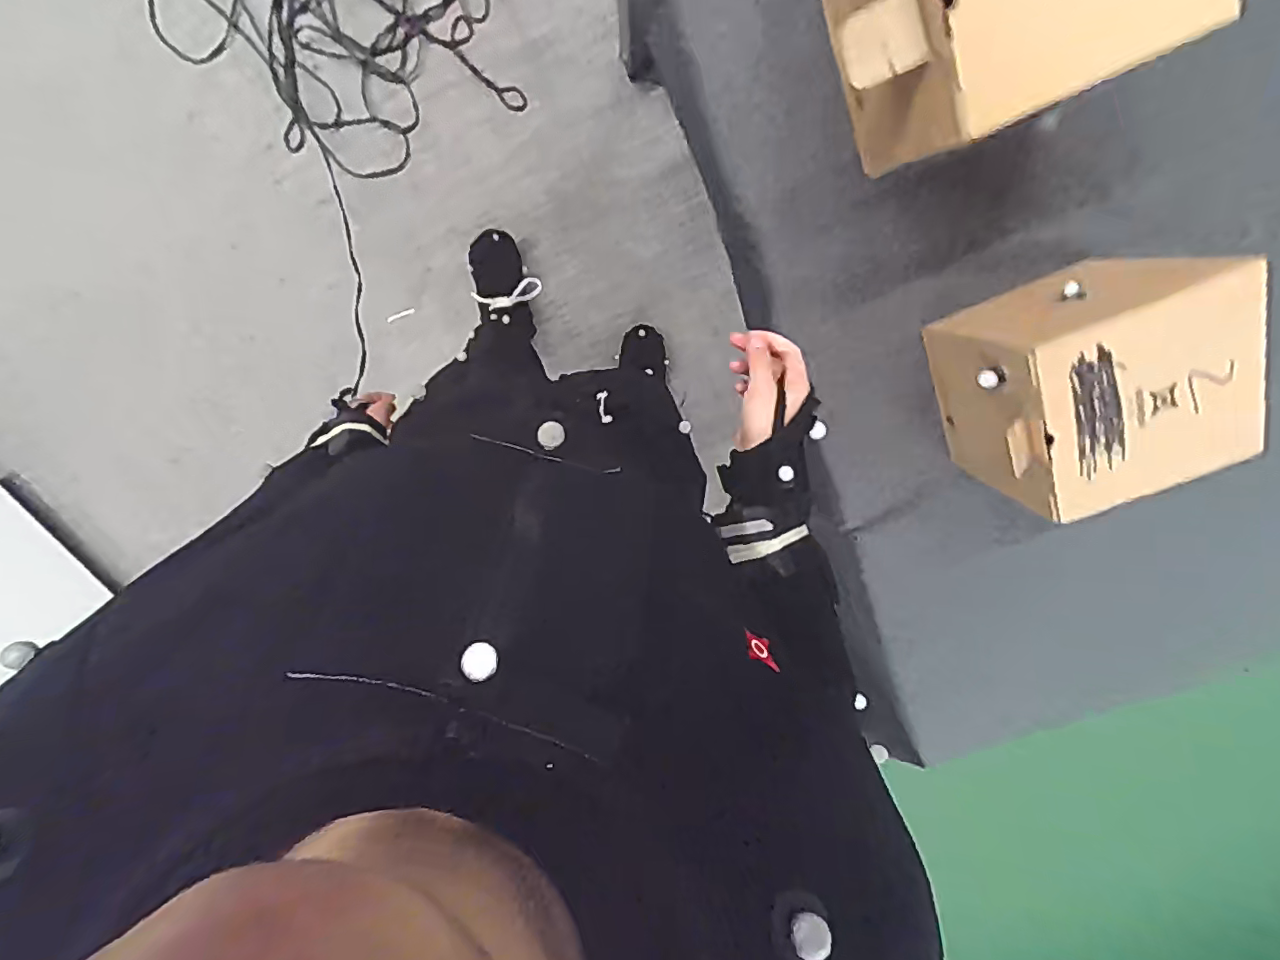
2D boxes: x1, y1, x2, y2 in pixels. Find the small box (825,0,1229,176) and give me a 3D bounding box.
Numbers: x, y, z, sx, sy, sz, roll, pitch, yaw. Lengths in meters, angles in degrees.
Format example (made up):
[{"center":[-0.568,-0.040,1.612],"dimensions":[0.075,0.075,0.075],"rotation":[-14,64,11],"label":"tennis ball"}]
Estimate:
[{"center":[0.268,-0.356,0.405],"dimensions":[0.179,0.176,0.168],"rotation":[-23,111,8],"label":"small box"}]
